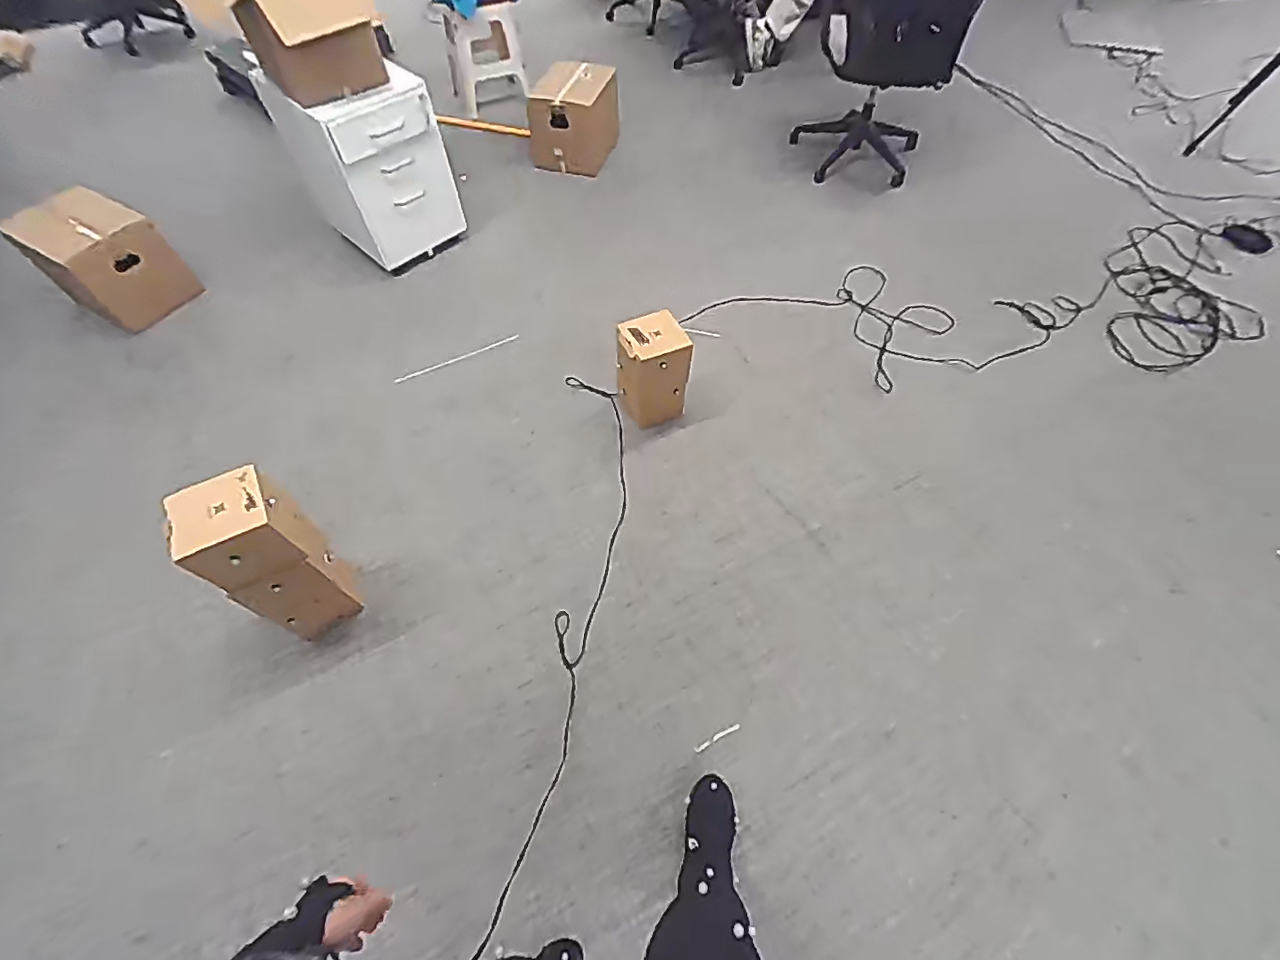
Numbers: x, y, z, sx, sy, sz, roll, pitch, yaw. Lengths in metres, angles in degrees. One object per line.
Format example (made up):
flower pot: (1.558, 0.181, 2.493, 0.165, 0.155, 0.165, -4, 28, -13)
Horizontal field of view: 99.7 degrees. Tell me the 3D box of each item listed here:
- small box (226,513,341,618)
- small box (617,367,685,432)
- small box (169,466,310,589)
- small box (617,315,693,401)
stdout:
small box: (-0.855, 0.203, 1.293, 0.179, 0.176, 0.168, -25, 61, -17)
small box: (0.036, -0.287, 1.797, 0.179, 0.176, 0.168, -22, 60, -15)
small box: (-0.853, 0.107, 1.160, 0.179, 0.176, 0.168, -26, 61, -15)
small box: (0.043, -0.367, 1.653, 0.179, 0.176, 0.168, -21, 60, -15)
